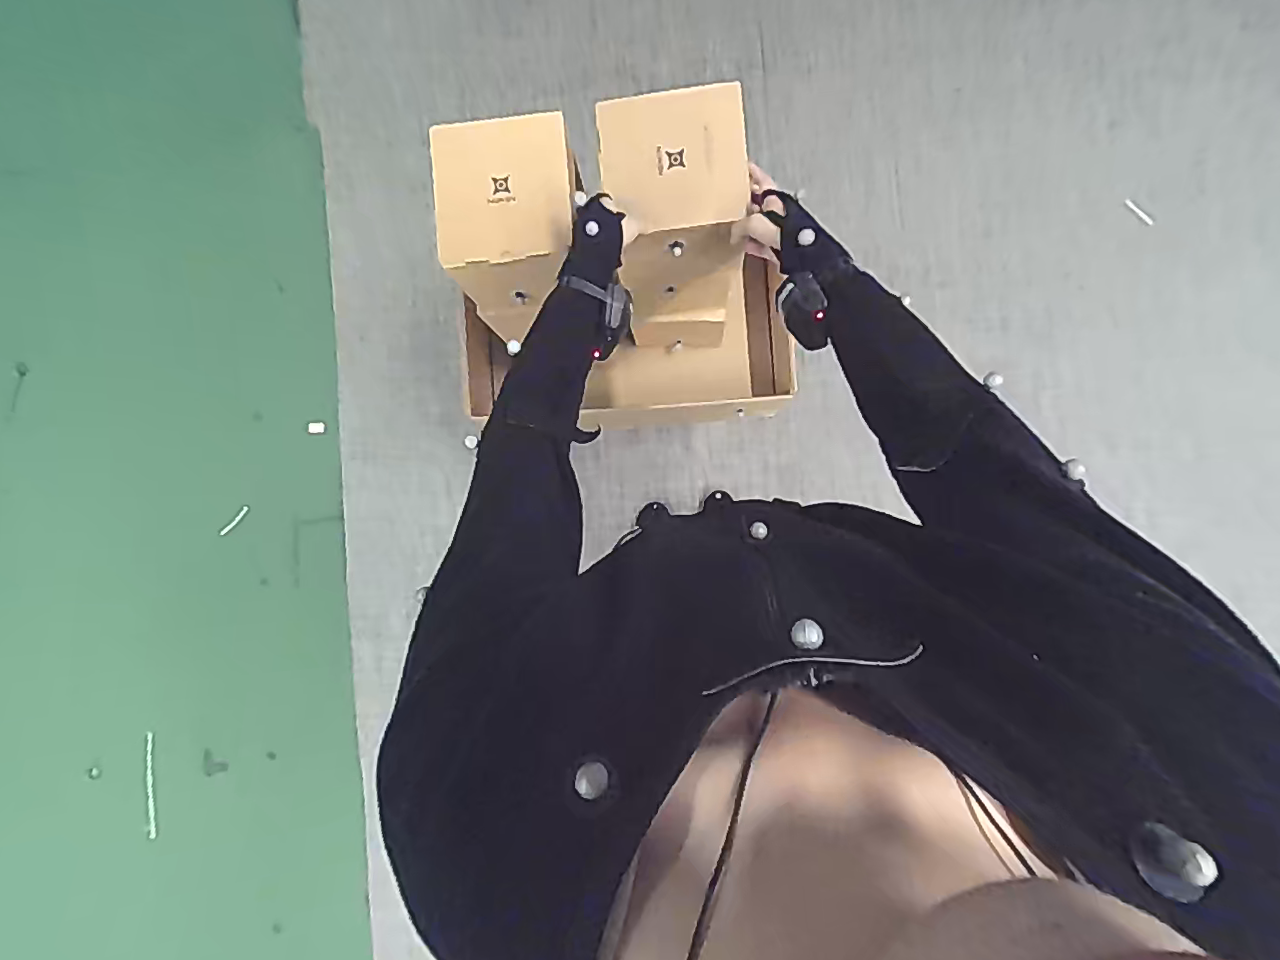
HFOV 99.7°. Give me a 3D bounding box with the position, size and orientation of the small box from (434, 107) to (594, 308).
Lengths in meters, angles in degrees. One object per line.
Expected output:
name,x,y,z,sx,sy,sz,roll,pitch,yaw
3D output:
small box,-0.158,-0.351,0.724,0.168,0.176,0.179,-5,88,3

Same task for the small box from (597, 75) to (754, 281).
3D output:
small box,0.049,-0.377,0.707,0.179,0.176,0.168,-5,88,6
